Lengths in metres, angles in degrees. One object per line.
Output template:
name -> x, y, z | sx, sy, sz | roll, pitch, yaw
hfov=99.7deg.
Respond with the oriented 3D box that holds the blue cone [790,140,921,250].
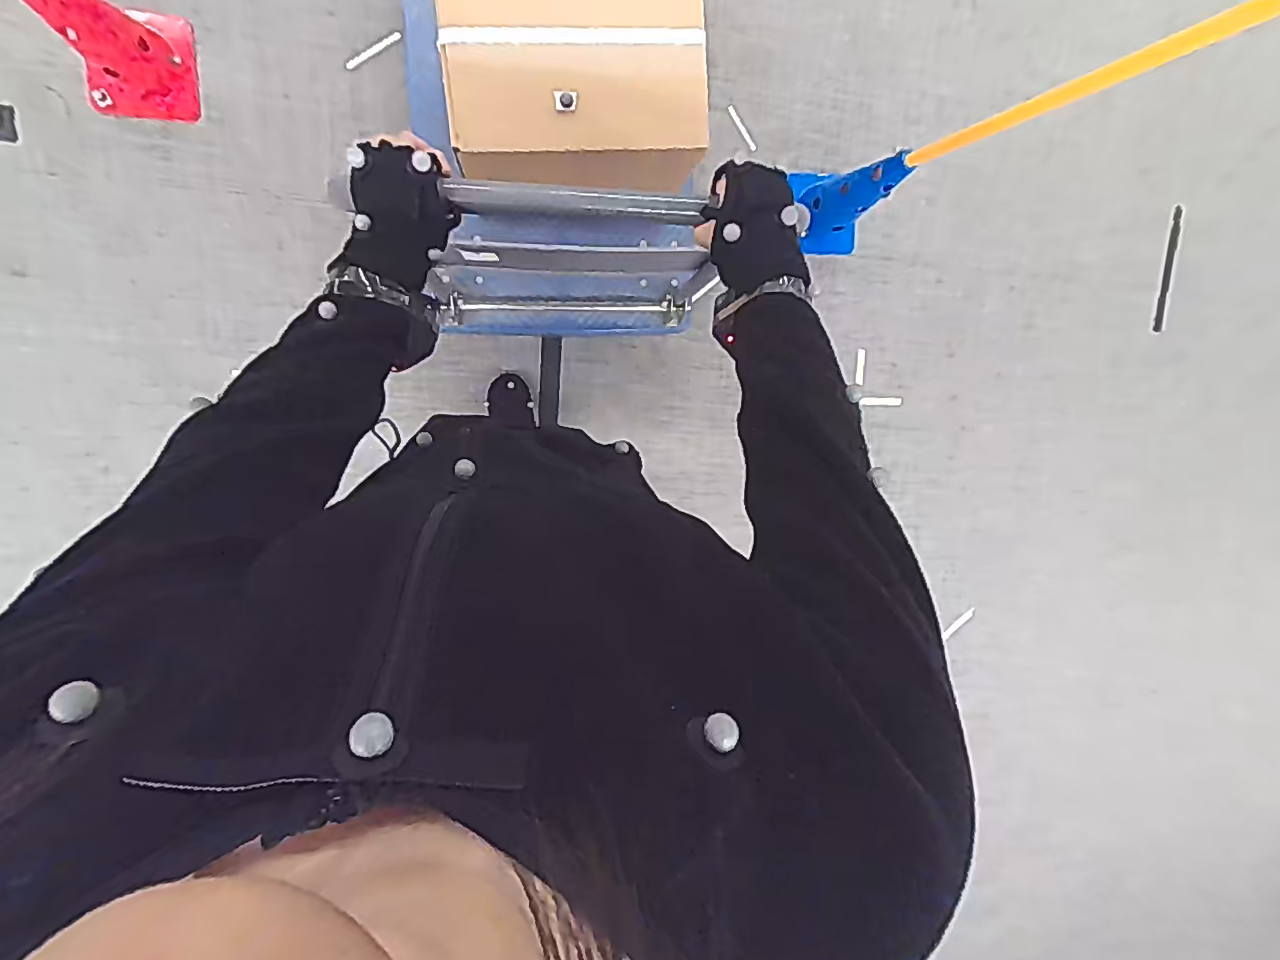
blue cone -> 0.513, -0.678, 1.259 | 0.193, 0.380, 0.192 | -2, 99, -11
